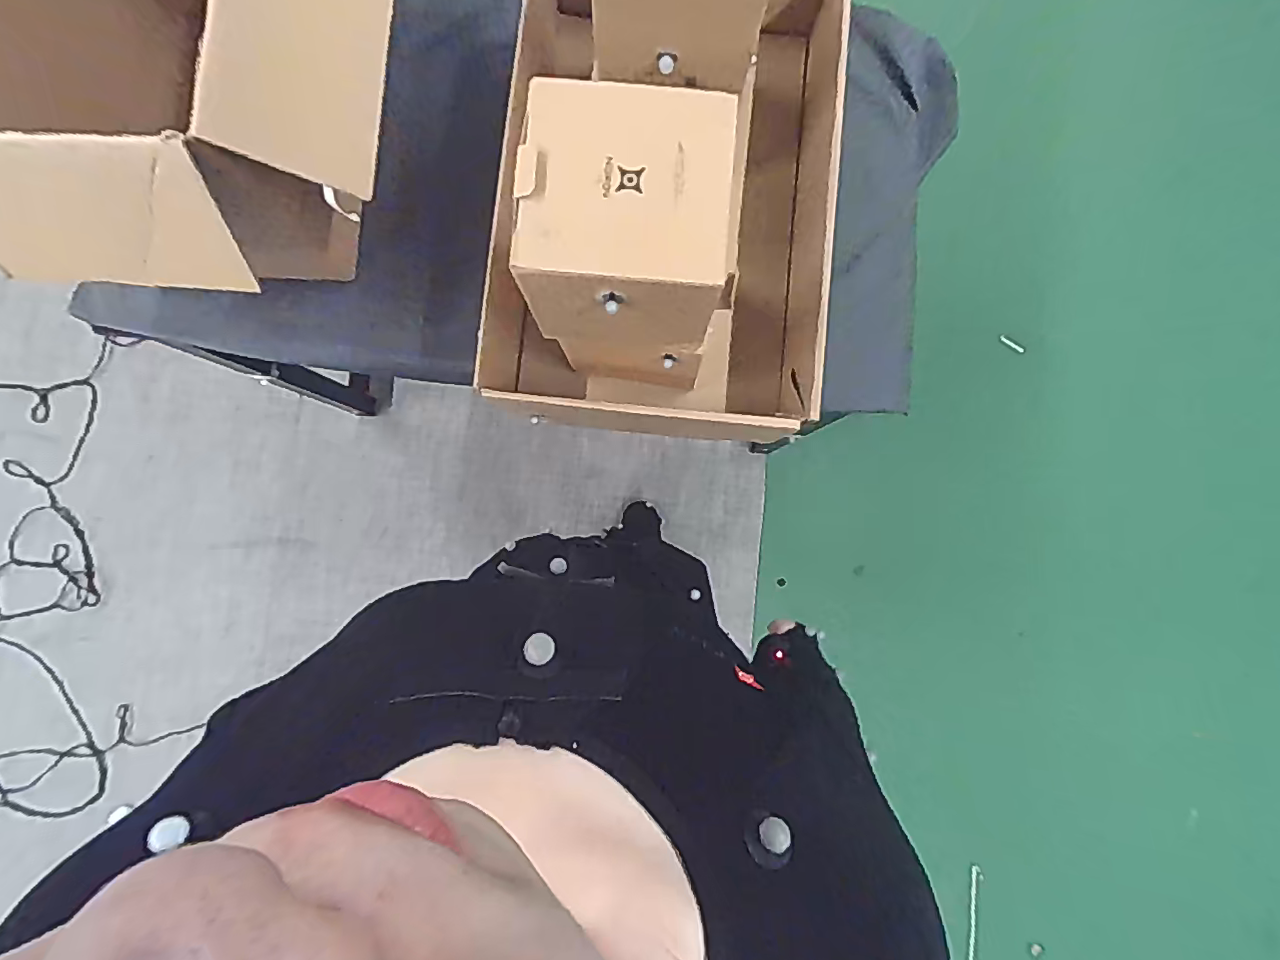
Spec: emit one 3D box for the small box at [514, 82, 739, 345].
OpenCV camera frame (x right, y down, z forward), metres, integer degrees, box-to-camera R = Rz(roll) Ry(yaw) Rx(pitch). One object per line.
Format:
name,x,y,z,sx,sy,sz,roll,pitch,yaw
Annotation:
small box,-0.011,-0.239,0.525,0.179,0.176,0.168,5,87,-1

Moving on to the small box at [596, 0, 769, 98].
small box,0.045,-0.529,0.539,0.168,0.176,0.179,6,88,0
